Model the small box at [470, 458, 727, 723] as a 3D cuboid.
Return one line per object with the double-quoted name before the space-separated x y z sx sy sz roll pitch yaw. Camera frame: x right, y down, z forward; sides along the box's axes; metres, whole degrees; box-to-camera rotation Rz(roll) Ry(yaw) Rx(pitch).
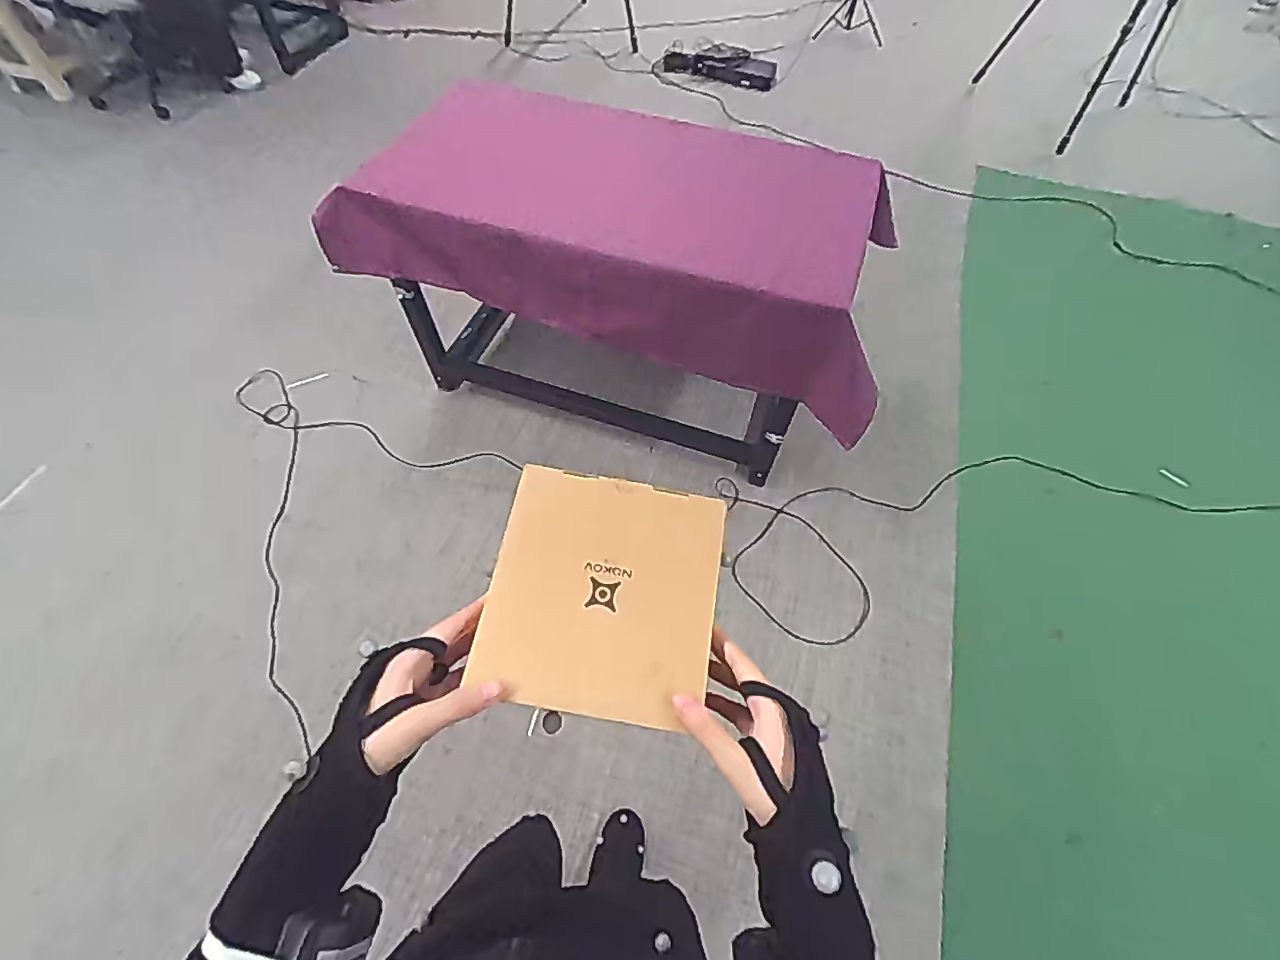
"small box" -0.028 0.106 0.474 0.168 0.176 0.179 10 65 0
